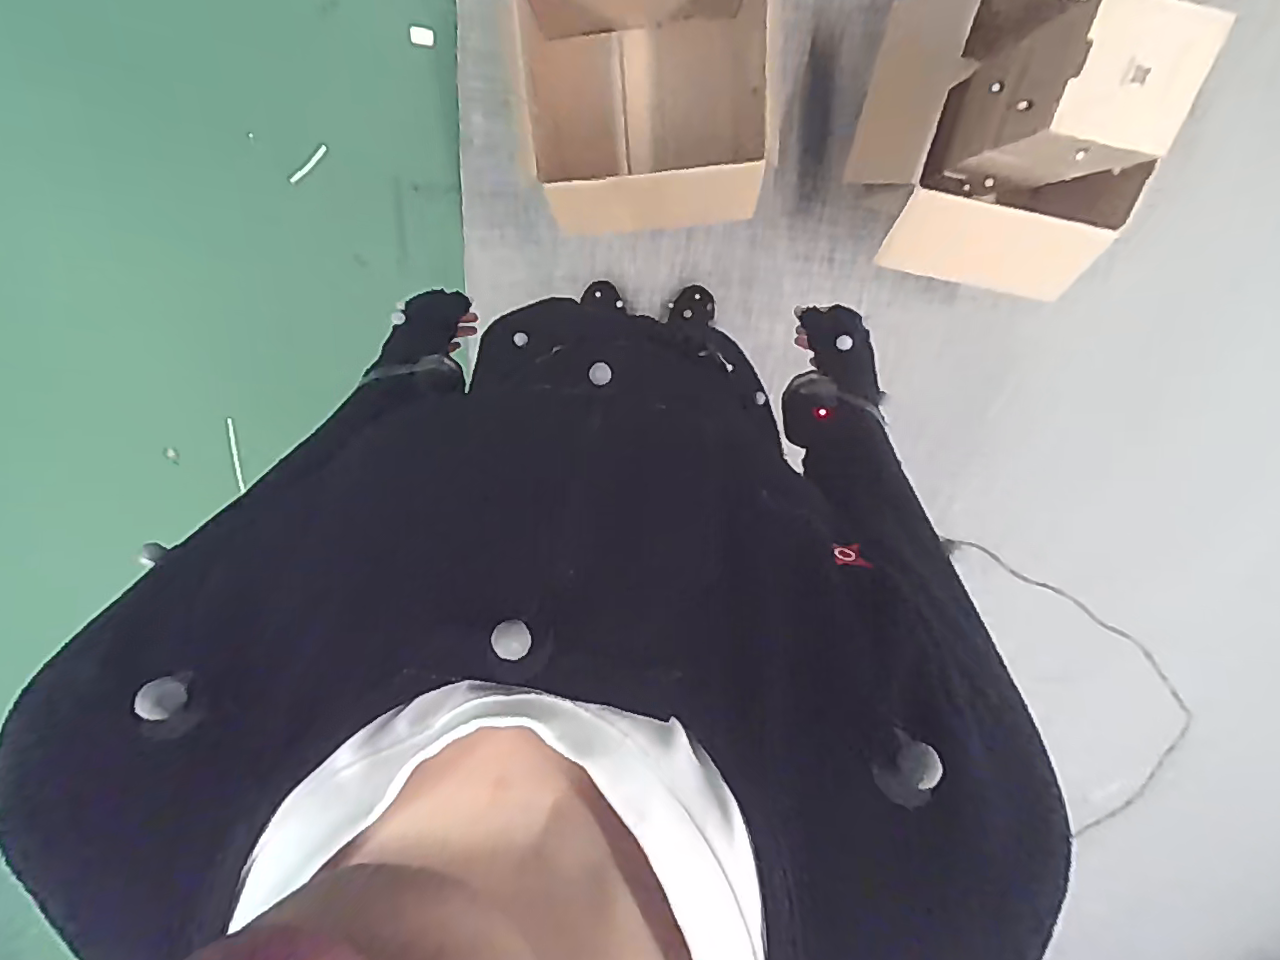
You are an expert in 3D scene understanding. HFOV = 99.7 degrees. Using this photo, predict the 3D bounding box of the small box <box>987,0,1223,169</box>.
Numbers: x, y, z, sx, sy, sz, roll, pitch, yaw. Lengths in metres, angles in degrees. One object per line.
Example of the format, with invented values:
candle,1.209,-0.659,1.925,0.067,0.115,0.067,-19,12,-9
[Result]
small box,0.671,-0.582,0.810,0.179,0.176,0.168,10,113,-2

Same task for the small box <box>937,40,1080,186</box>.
small box,0.676,-0.637,0.963,0.179,0.176,0.168,11,110,-2
